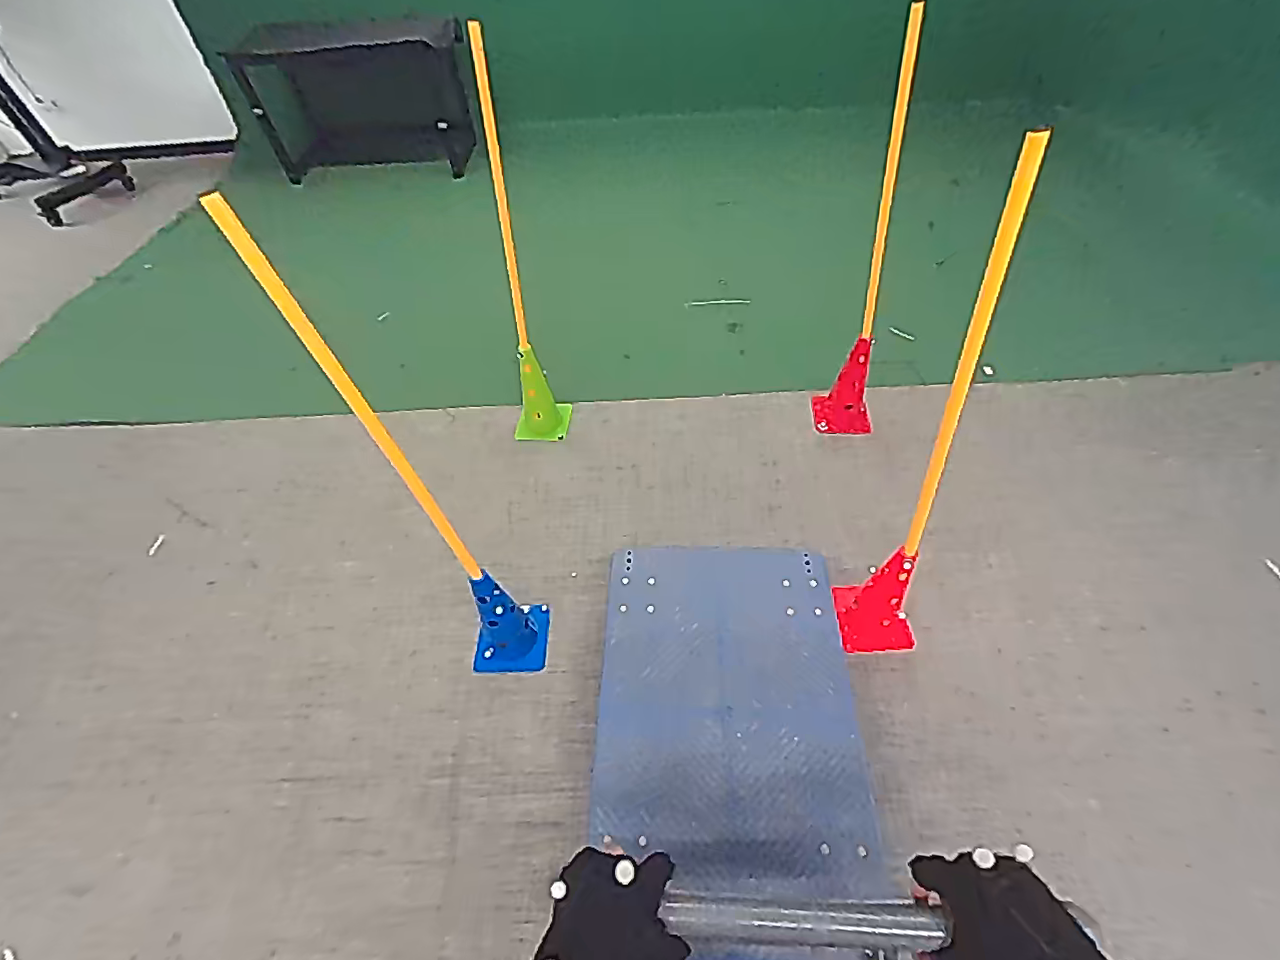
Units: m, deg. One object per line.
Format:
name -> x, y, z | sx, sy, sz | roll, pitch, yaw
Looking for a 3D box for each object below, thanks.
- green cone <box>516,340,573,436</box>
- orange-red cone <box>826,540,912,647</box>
green cone -> -0.381, -0.353, 1.977 | 0.202, 0.368, 0.200 | 1, 50, 5
orange-red cone -> 0.633, 0.269, 1.407 | 0.199, 0.360, 0.198 | -4, 50, 3
